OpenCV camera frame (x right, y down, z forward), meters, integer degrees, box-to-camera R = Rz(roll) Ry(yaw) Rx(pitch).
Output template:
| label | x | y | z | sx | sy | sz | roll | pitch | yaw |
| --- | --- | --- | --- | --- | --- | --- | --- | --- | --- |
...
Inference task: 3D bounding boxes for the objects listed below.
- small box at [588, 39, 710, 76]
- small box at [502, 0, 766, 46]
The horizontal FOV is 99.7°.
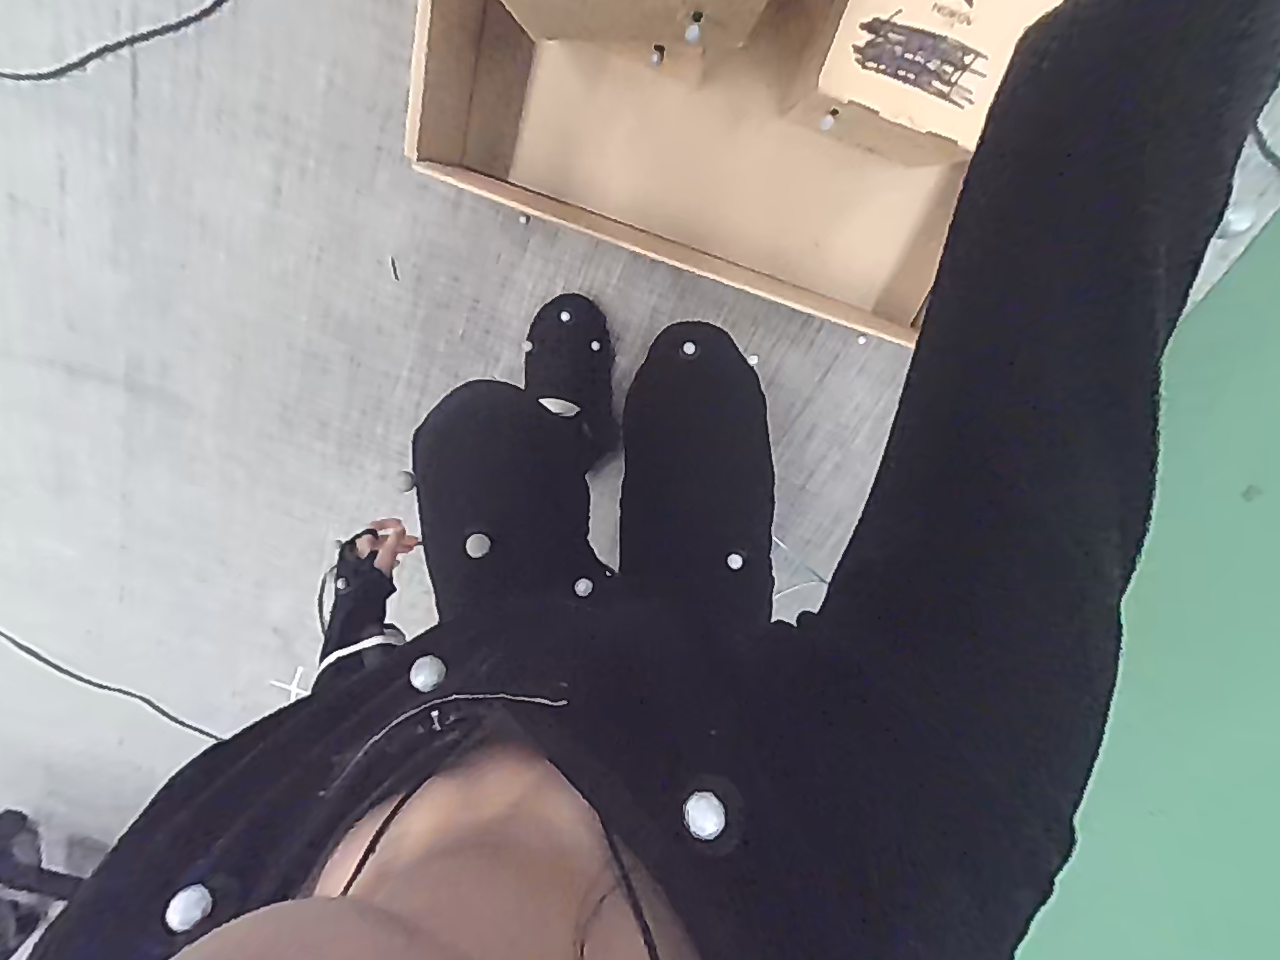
| label | x | y | z | sx | sy | sz | roll | pitch | yaw |
| --- | --- | --- | --- | --- | --- | --- | --- | --- | --- |
| small box | 0.002 | -0.487 | 0.473 | 0.179 | 0.176 | 0.168 | 17 | 118 | -8 |
| small box | -0.003 | -0.395 | 0.338 | 0.179 | 0.176 | 0.168 | 3 | 119 | 1 |
